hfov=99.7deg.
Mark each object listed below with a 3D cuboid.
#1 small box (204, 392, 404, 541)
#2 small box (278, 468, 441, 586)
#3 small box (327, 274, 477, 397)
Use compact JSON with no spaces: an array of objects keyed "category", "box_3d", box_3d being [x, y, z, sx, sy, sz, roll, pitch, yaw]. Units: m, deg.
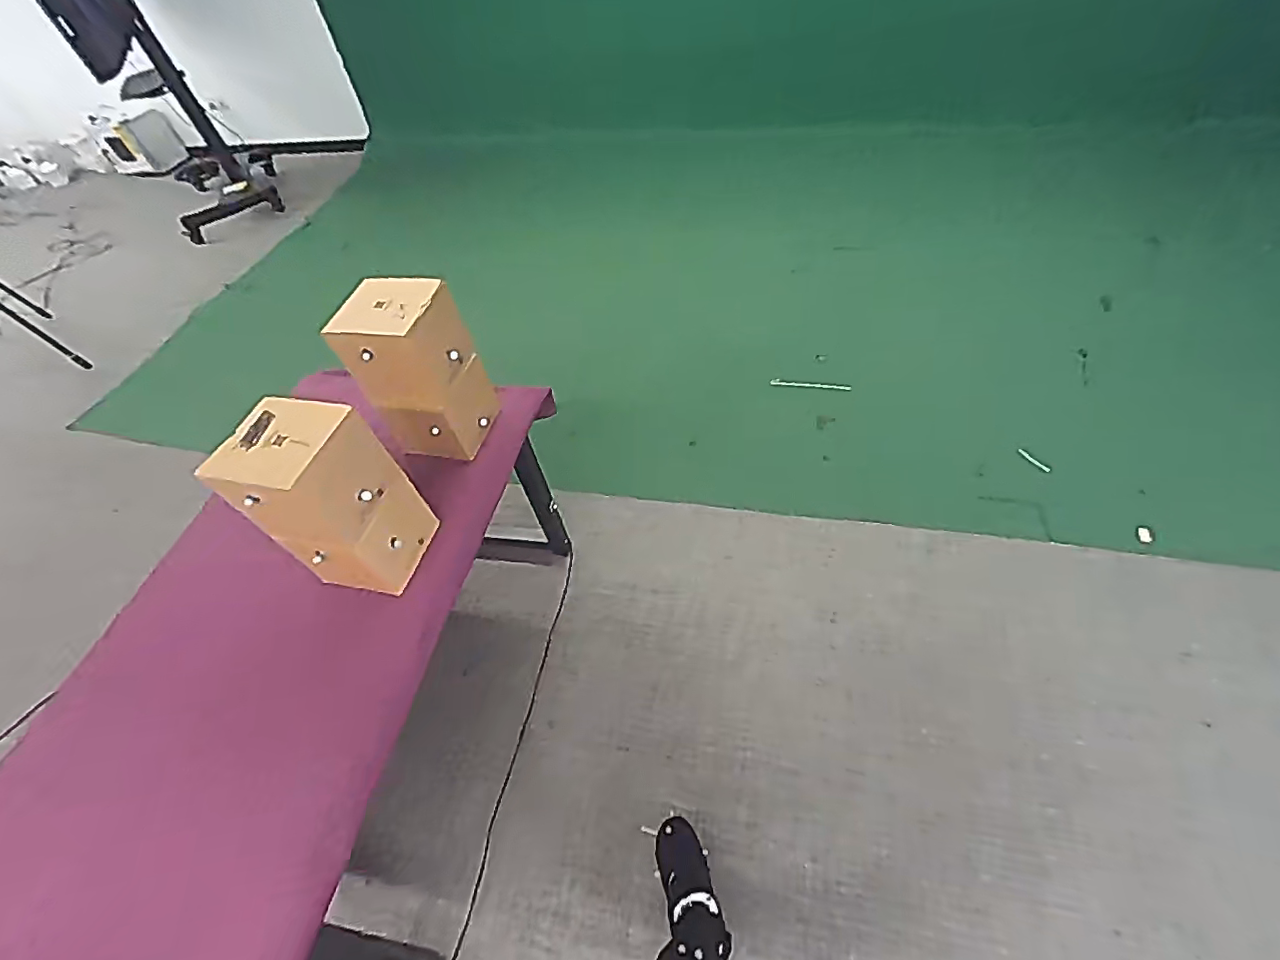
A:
[{"category":"small box","box_3d":[-0.526,-0.019,0.873,0.179,0.176,0.168,8,55,15]},{"category":"small box","box_3d":[-0.503,0.081,1.002,0.179,0.176,0.168,7,55,15]},{"category":"small box","box_3d":[-0.451,-0.279,1.054,0.179,0.176,0.168,7,56,13]}]
